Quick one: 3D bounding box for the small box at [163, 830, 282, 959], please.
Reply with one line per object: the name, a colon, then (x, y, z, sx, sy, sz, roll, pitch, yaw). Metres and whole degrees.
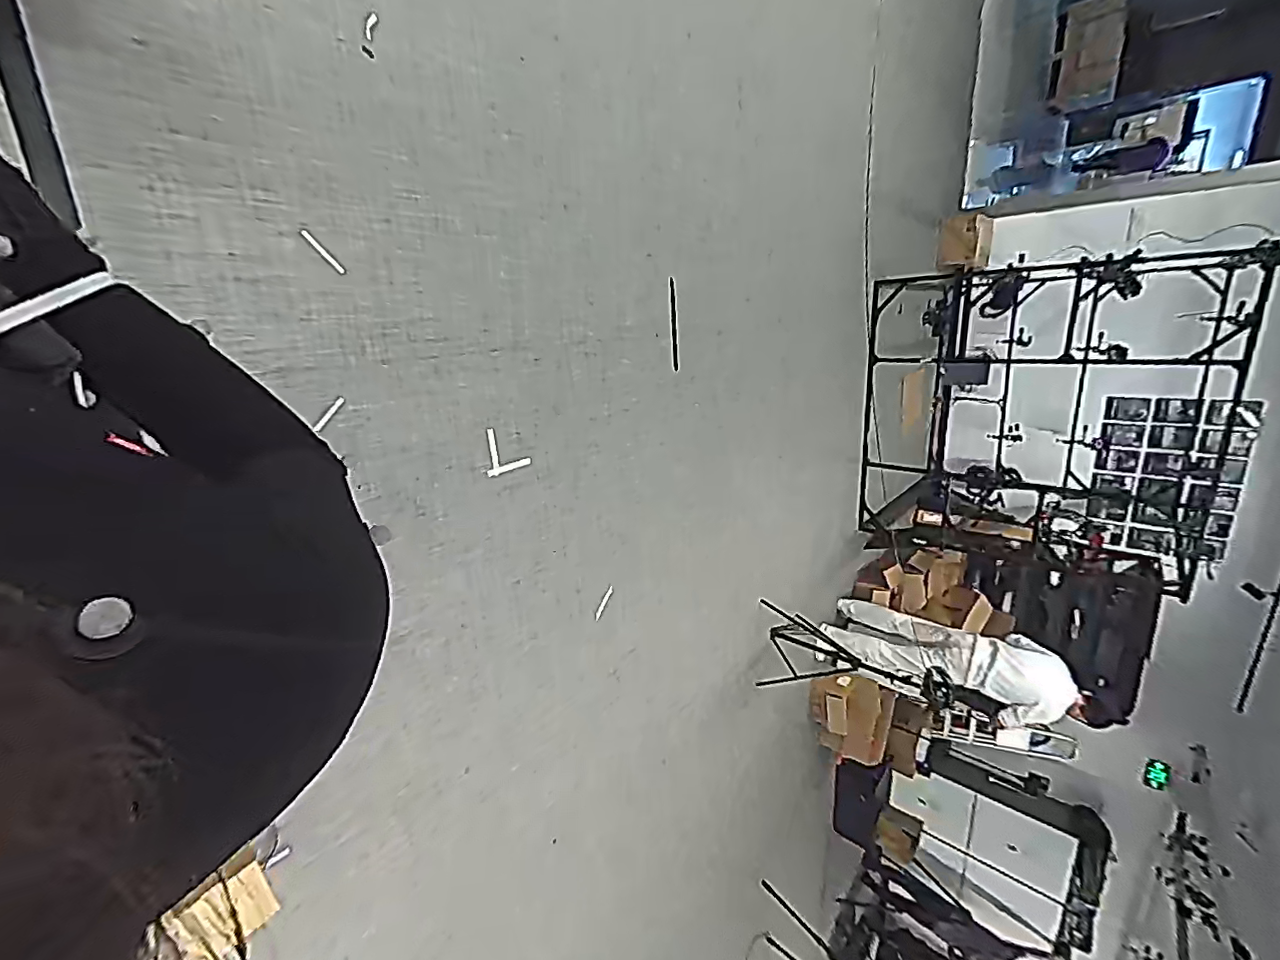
small box: (-1.002, 0.987, 1.296, 0.168, 0.176, 0.179, -26, 118, -43)
